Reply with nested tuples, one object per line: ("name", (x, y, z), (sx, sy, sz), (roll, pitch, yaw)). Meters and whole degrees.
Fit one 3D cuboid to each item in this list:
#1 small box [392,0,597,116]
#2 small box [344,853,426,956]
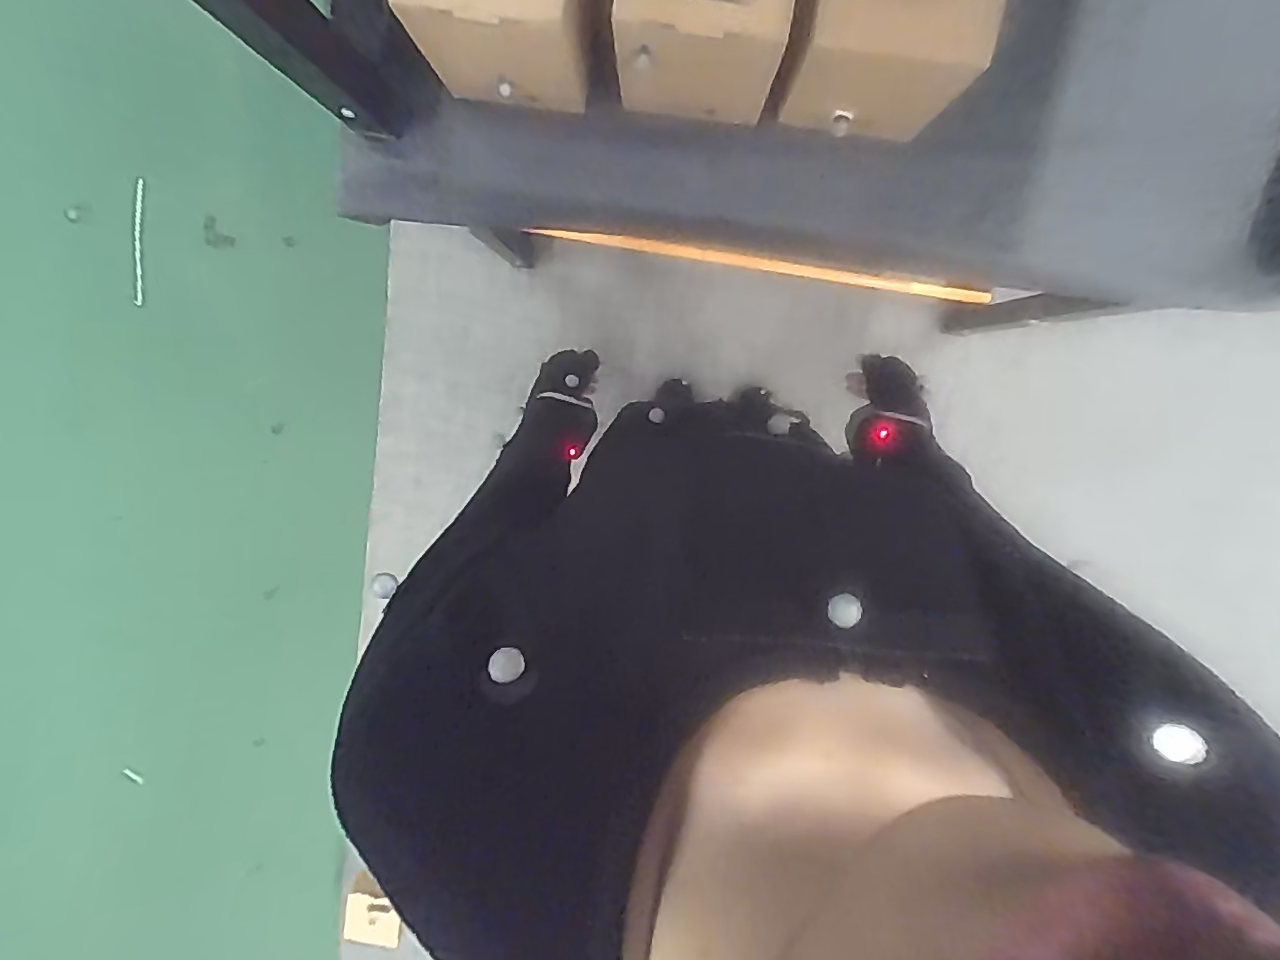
("small box", (-0.138, -0.523, 0.563), (0.168, 0.176, 0.179), (7, 100, 0))
("small box", (-0.773, 1.291, 1.655), (0.168, 0.176, 0.179), (11, 101, 0))
